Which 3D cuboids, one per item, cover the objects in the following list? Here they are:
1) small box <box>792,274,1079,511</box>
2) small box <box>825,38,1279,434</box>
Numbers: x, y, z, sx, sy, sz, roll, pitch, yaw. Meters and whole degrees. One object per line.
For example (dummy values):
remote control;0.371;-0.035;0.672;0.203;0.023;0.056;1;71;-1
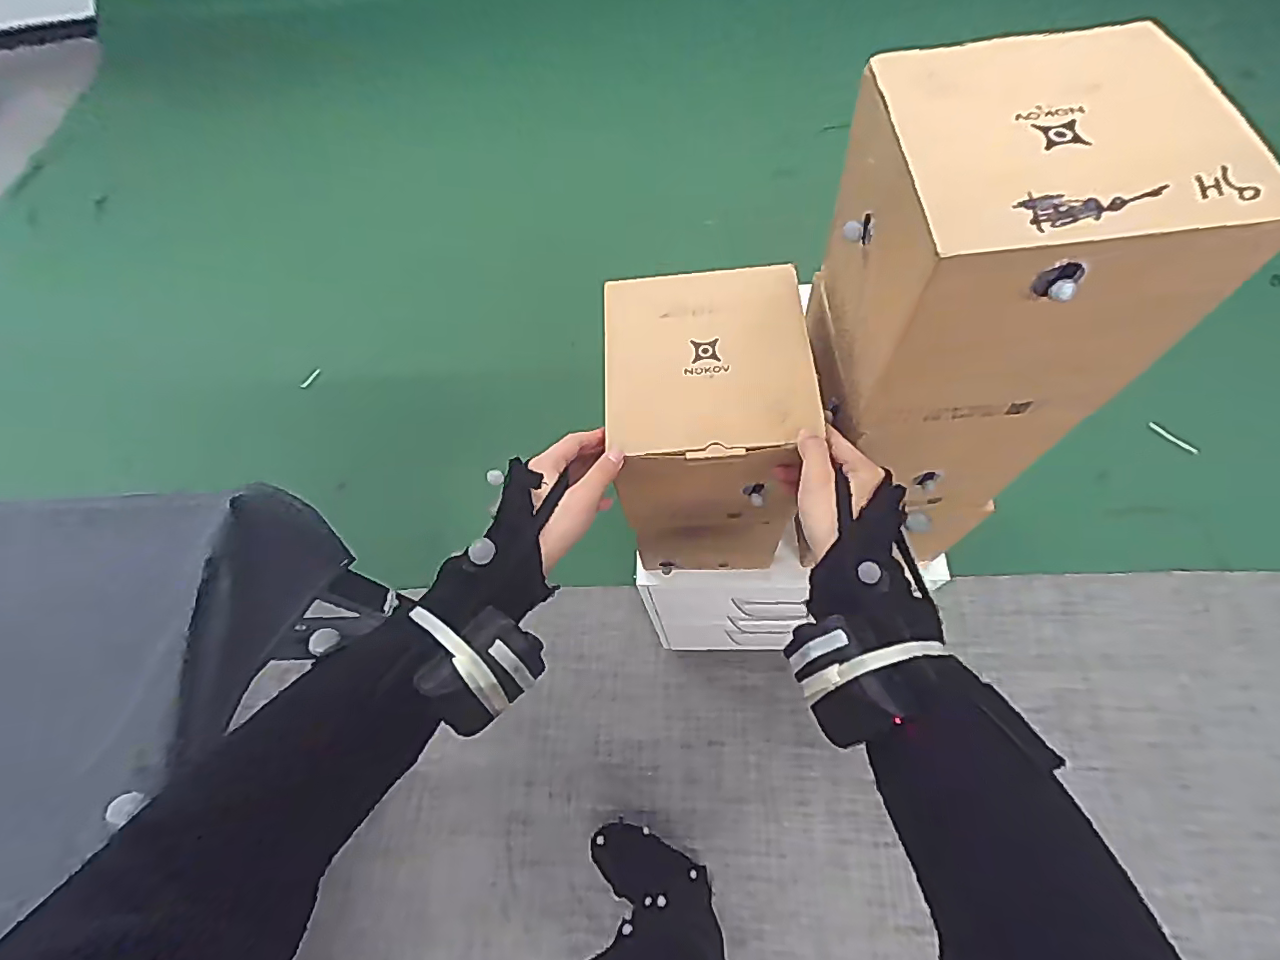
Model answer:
small box;0.250;-0.078;0.511;0.168;0.176;0.179;-5;63;4
small box;0.234;-0.150;0.365;0.168;0.176;0.179;-3;62;5
